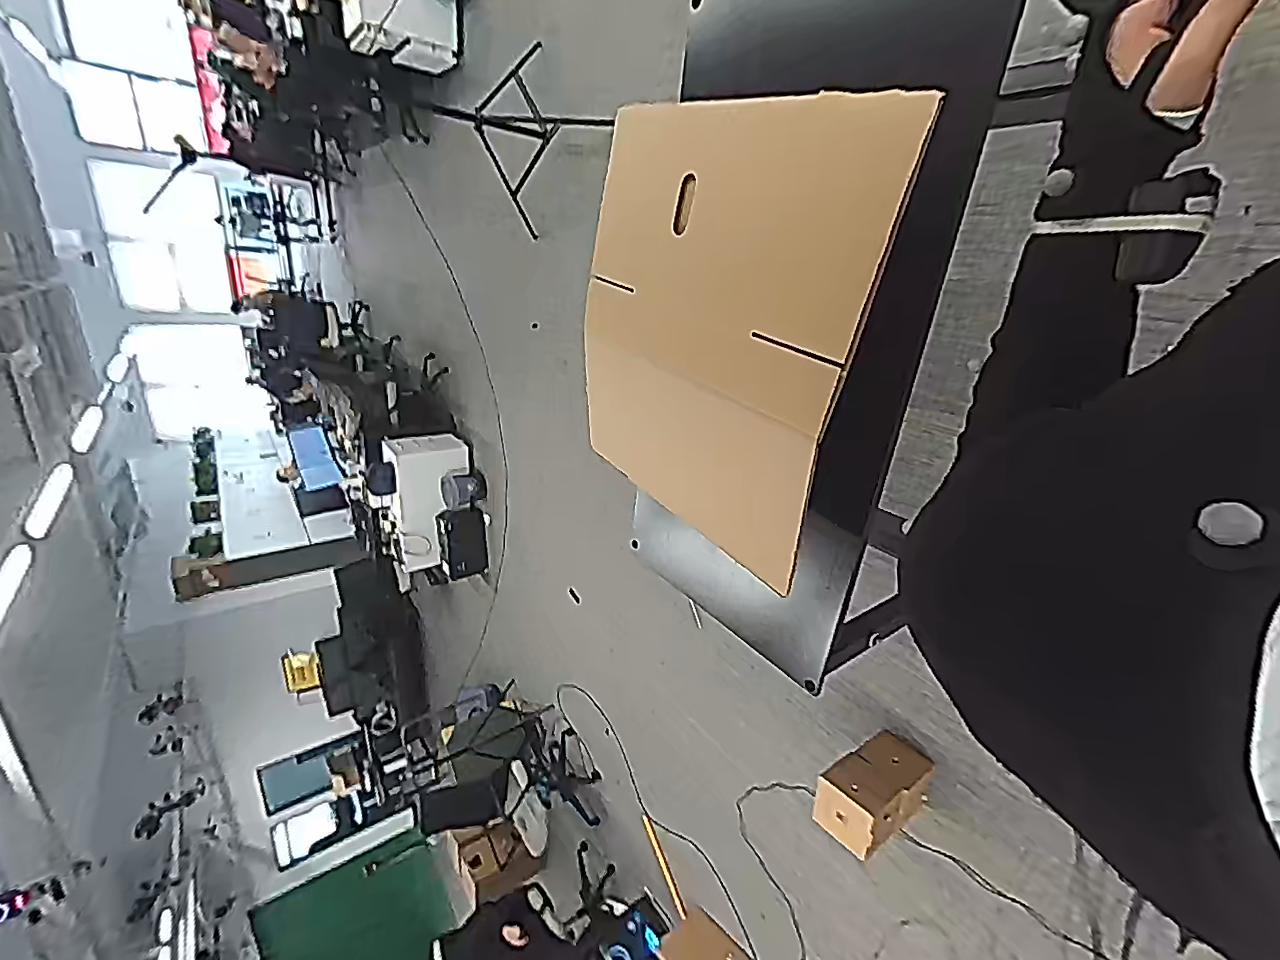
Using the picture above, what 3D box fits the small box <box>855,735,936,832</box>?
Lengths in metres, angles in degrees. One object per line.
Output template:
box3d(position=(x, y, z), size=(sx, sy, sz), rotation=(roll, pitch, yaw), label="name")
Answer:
box3d(position=(0.772, 0.923, 1.668), size=(0.179, 0.176, 0.168), rotation=(26, 119, 48), label="small box")

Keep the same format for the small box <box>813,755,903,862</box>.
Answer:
box3d(position=(0.638, 0.946, 1.578), size=(0.179, 0.176, 0.168), rotation=(24, 117, 50), label="small box")
